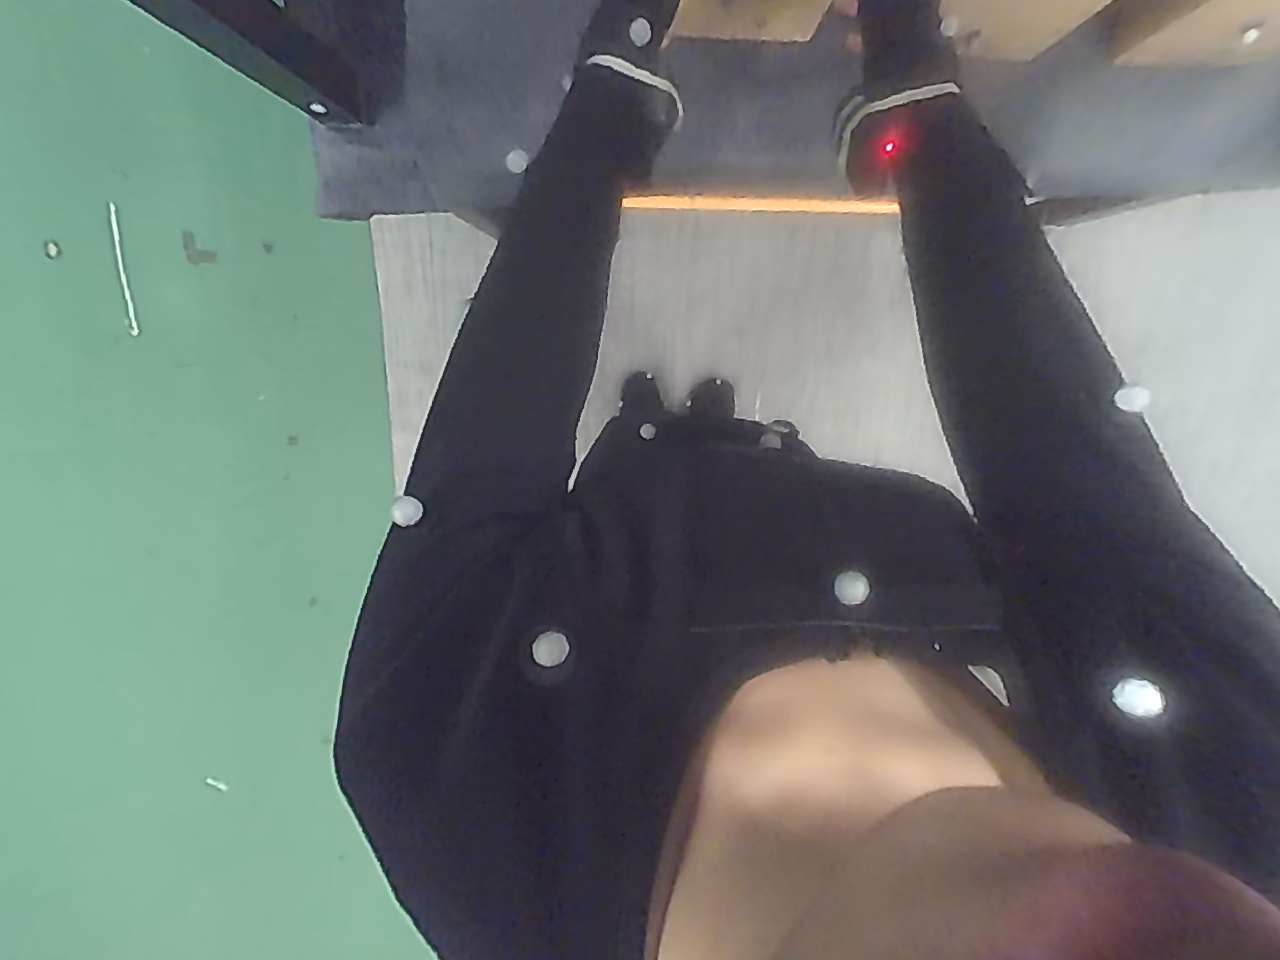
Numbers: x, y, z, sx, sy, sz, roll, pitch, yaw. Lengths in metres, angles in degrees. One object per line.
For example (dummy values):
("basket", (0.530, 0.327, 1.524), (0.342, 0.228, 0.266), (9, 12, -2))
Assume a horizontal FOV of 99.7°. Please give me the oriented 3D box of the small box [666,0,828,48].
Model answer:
("small box", (0.112, -0.553, 0.518), (0.168, 0.176, 0.179), (2, 105, 1))
